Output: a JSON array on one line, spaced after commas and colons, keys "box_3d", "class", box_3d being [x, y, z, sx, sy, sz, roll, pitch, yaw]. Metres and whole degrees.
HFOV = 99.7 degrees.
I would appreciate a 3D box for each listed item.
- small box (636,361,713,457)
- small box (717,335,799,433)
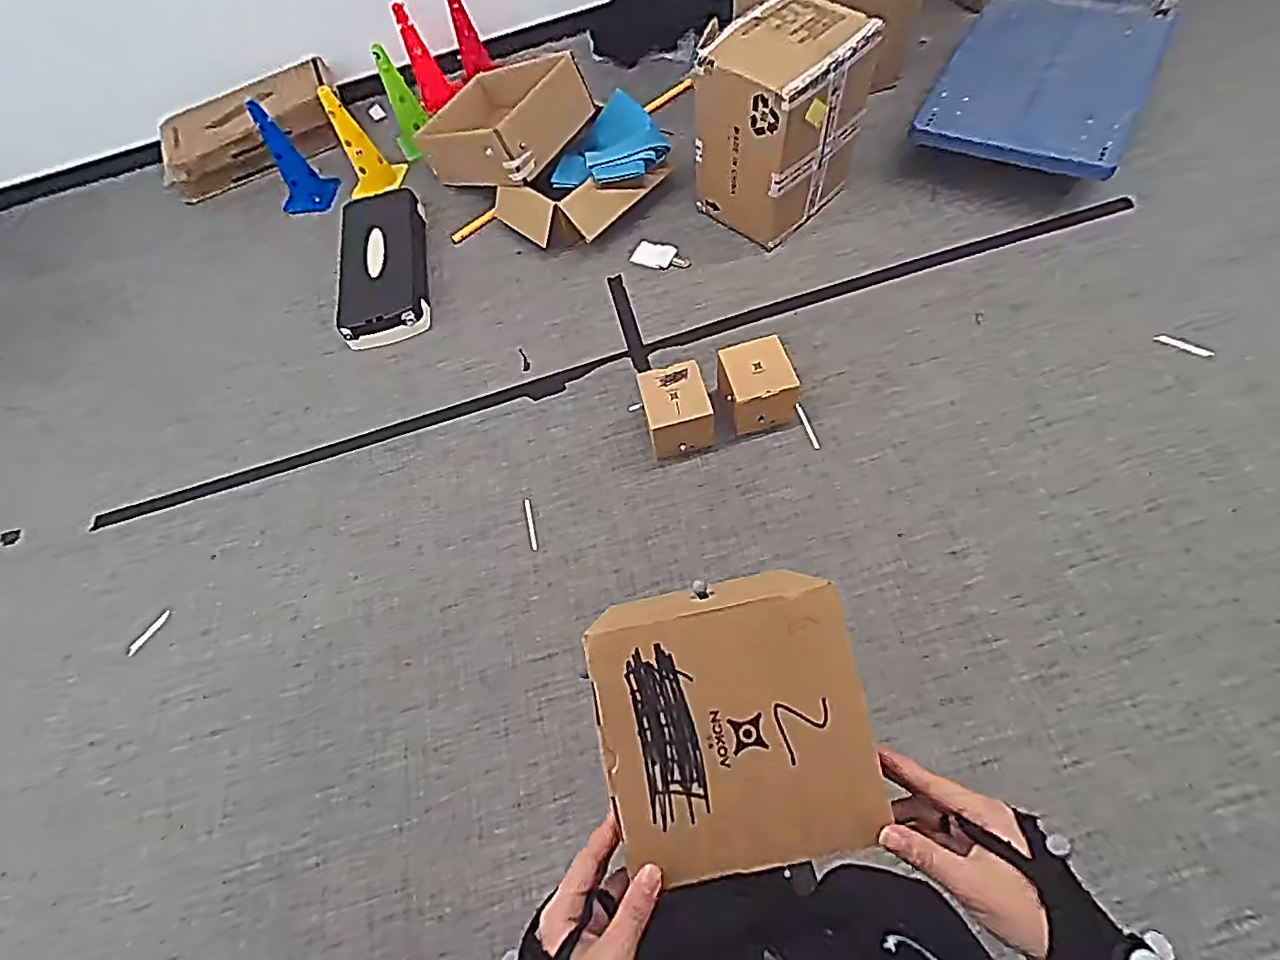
[{"box_3d": [0.093, -0.187, 1.455, 0.168, 0.176, 0.179, -14, 64, 1], "class": "small box"}, {"box_3d": [0.310, -0.255, 1.462, 0.168, 0.176, 0.179, -16, 64, 0], "class": "small box"}]
